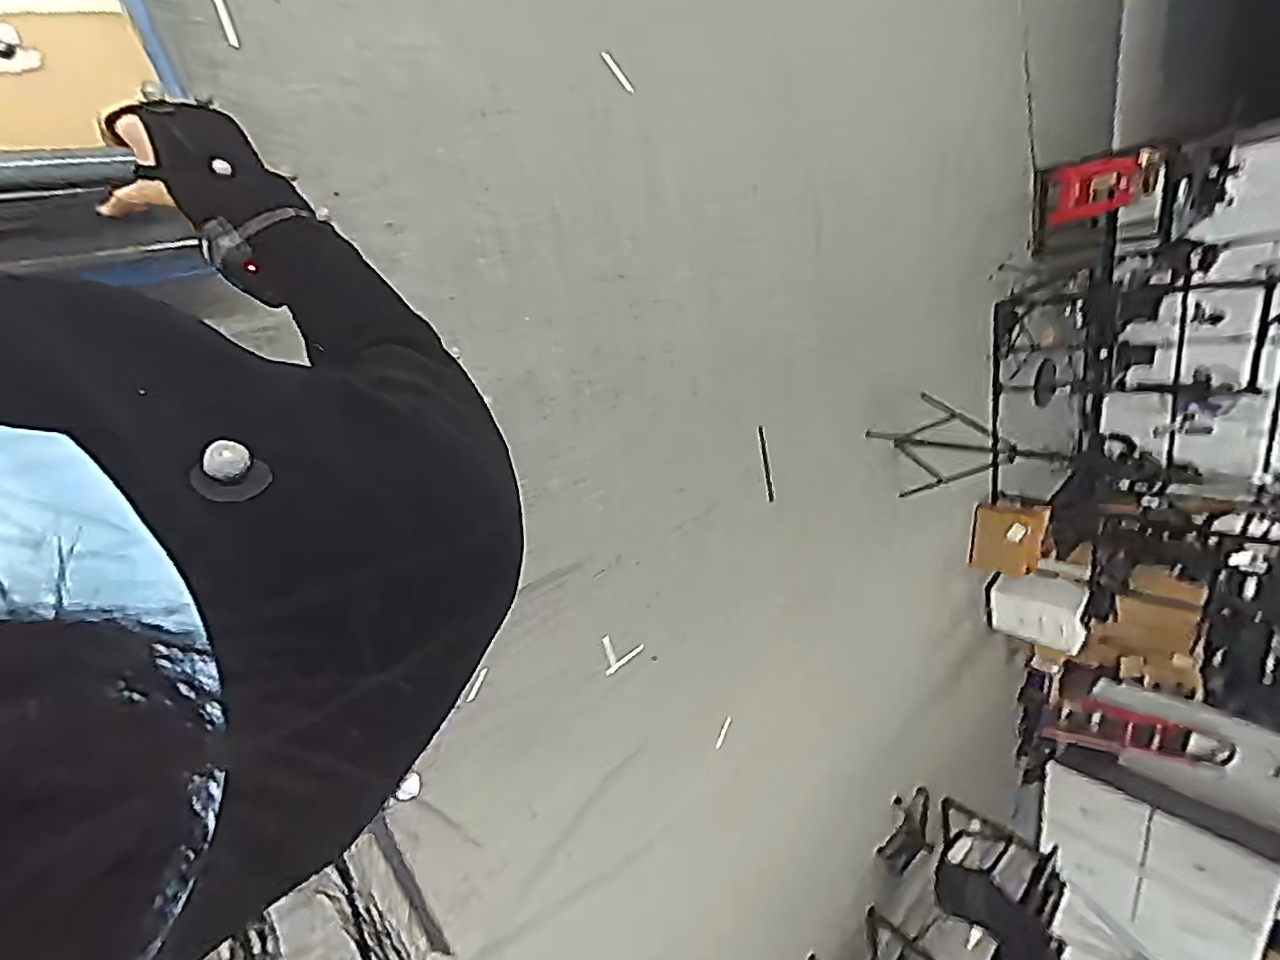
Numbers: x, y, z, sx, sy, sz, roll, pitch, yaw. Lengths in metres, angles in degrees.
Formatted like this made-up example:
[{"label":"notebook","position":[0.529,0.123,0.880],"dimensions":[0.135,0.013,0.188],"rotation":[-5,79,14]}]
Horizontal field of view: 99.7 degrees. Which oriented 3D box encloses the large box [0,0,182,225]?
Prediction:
[{"label":"large box","position":[-0.917,-0.538,0.706],"dimensions":[0.408,0.320,0.320],"rotation":[-33,118,-32]}]
